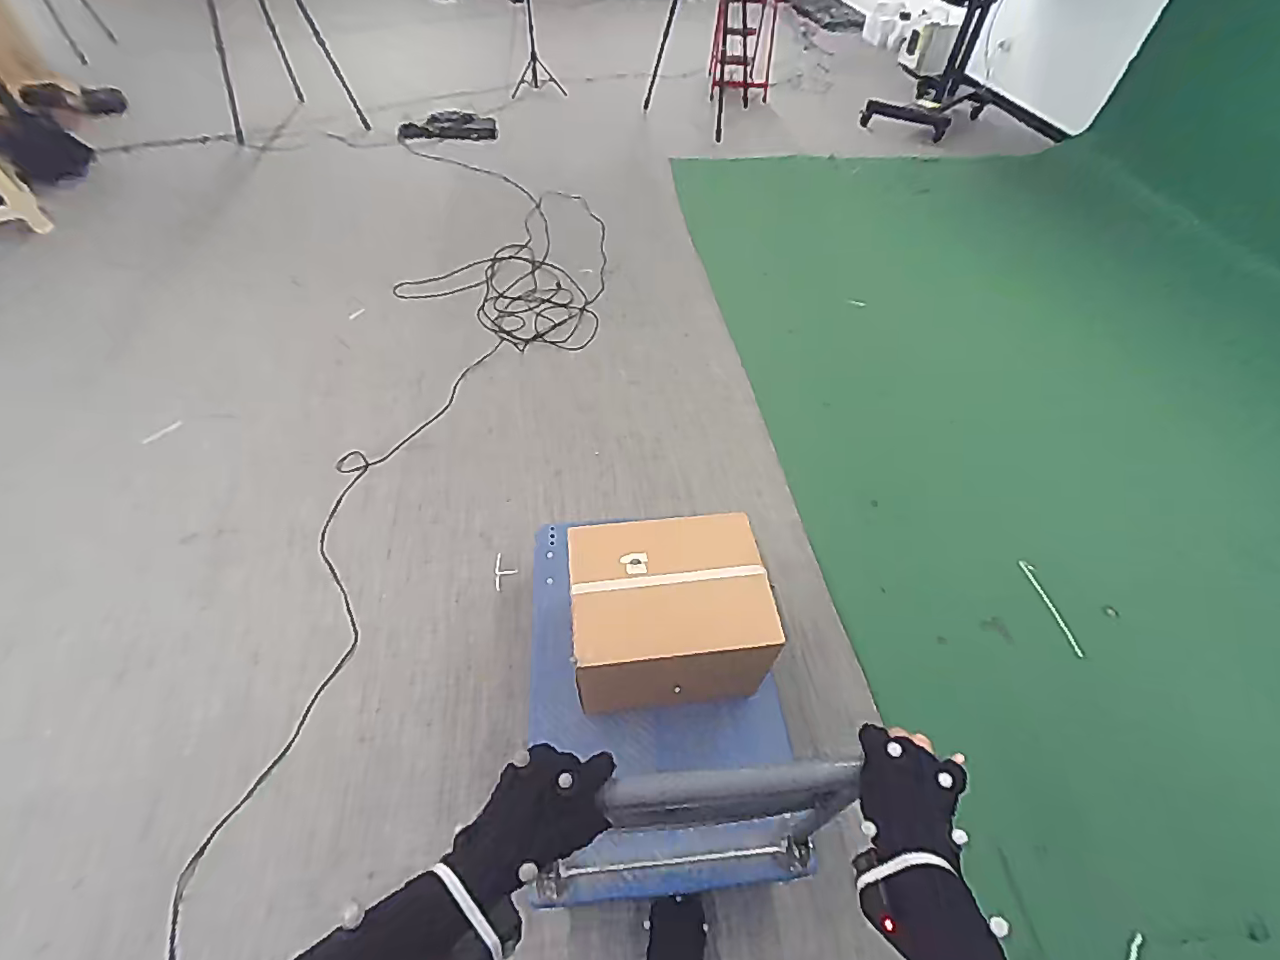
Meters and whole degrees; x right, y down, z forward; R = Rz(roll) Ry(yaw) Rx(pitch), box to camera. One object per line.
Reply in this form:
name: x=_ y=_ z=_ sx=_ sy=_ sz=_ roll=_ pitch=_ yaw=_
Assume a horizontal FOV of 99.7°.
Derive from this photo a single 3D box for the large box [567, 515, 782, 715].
large box: x=0.055 y=0.310 z=1.227 sx=0.408 sy=0.320 sz=0.320 roll=-5 pitch=51 yaw=-6
